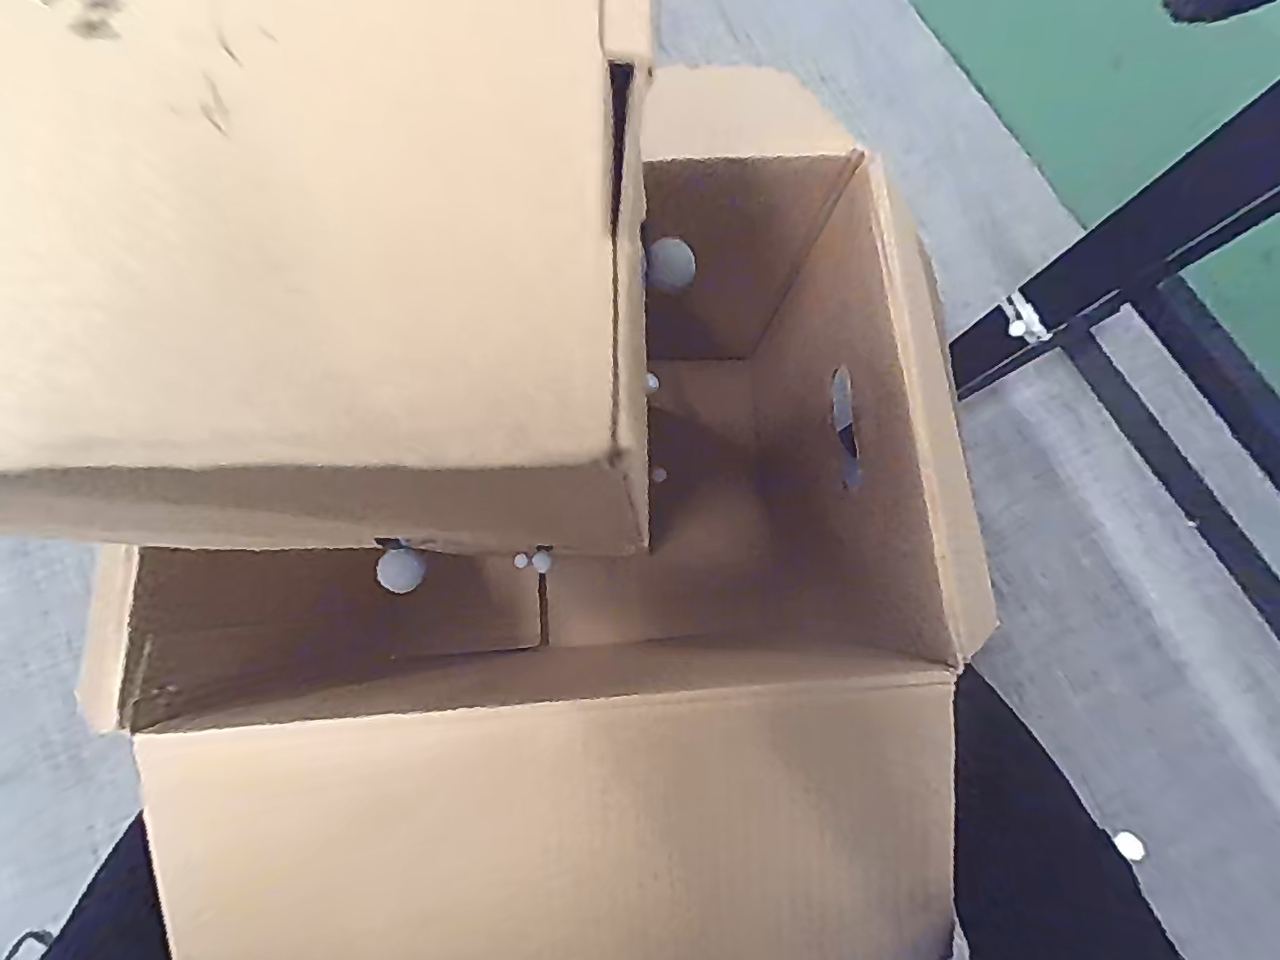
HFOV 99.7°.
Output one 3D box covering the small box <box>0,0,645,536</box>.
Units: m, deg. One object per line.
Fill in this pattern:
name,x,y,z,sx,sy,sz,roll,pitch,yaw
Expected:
small box,-0.088,-0.072,0.161,0.179,0.176,0.168,0,80,0
